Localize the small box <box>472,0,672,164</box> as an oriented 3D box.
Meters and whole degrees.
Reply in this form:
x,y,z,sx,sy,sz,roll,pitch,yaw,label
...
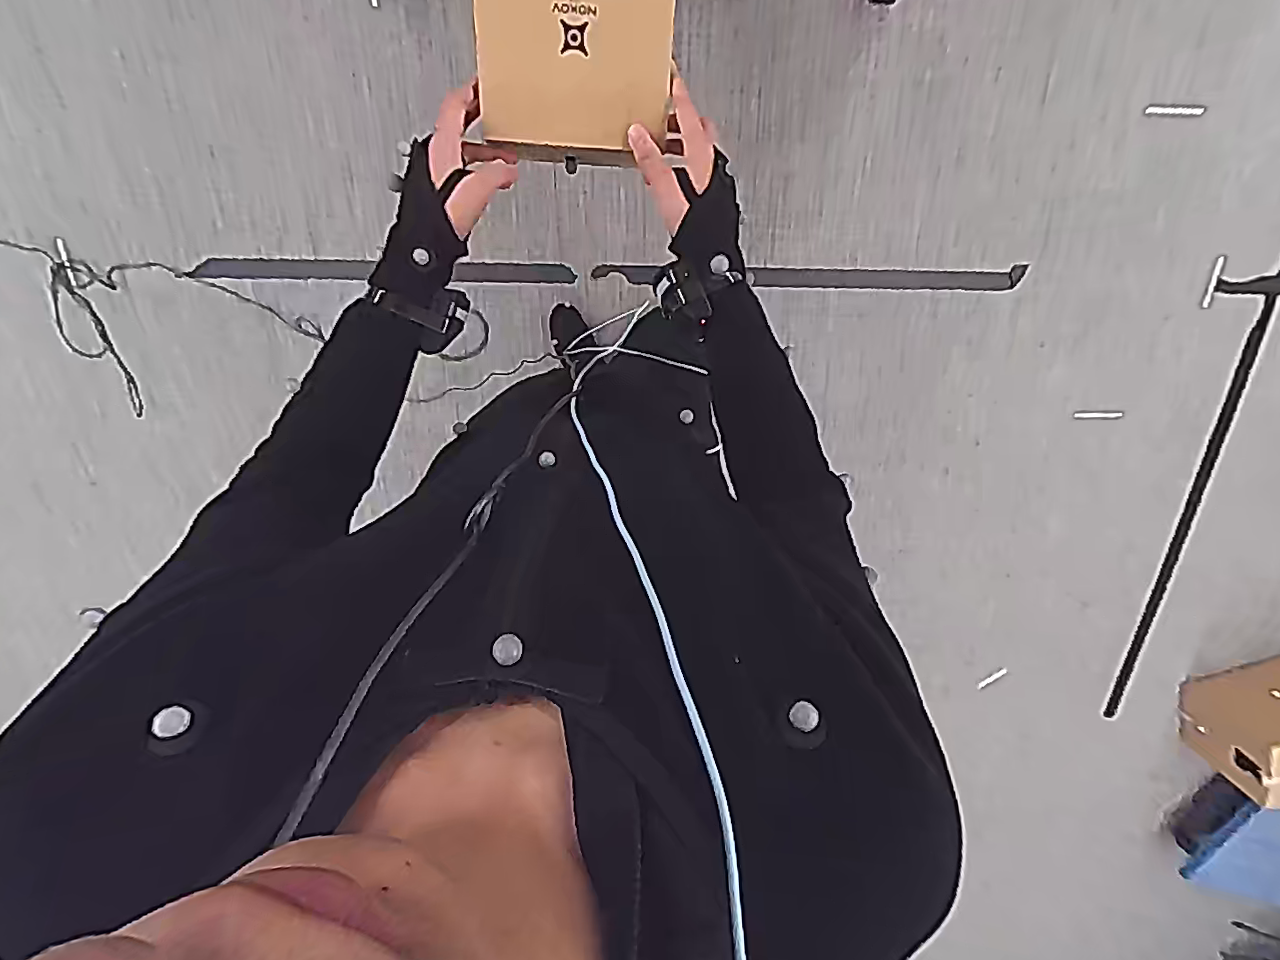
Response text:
x,y,z,sx,sy,sz,roll,pitch,yaw,label
-0.062,-0.414,0.519,0.168,0.176,0.179,1,116,-7,small box

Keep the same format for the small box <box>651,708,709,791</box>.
x,y,z,sx,sy,sz,roll,pitch,yaw,label
0.127,0.877,1.767,0.168,0.176,0.179,-2,110,-4,small box
